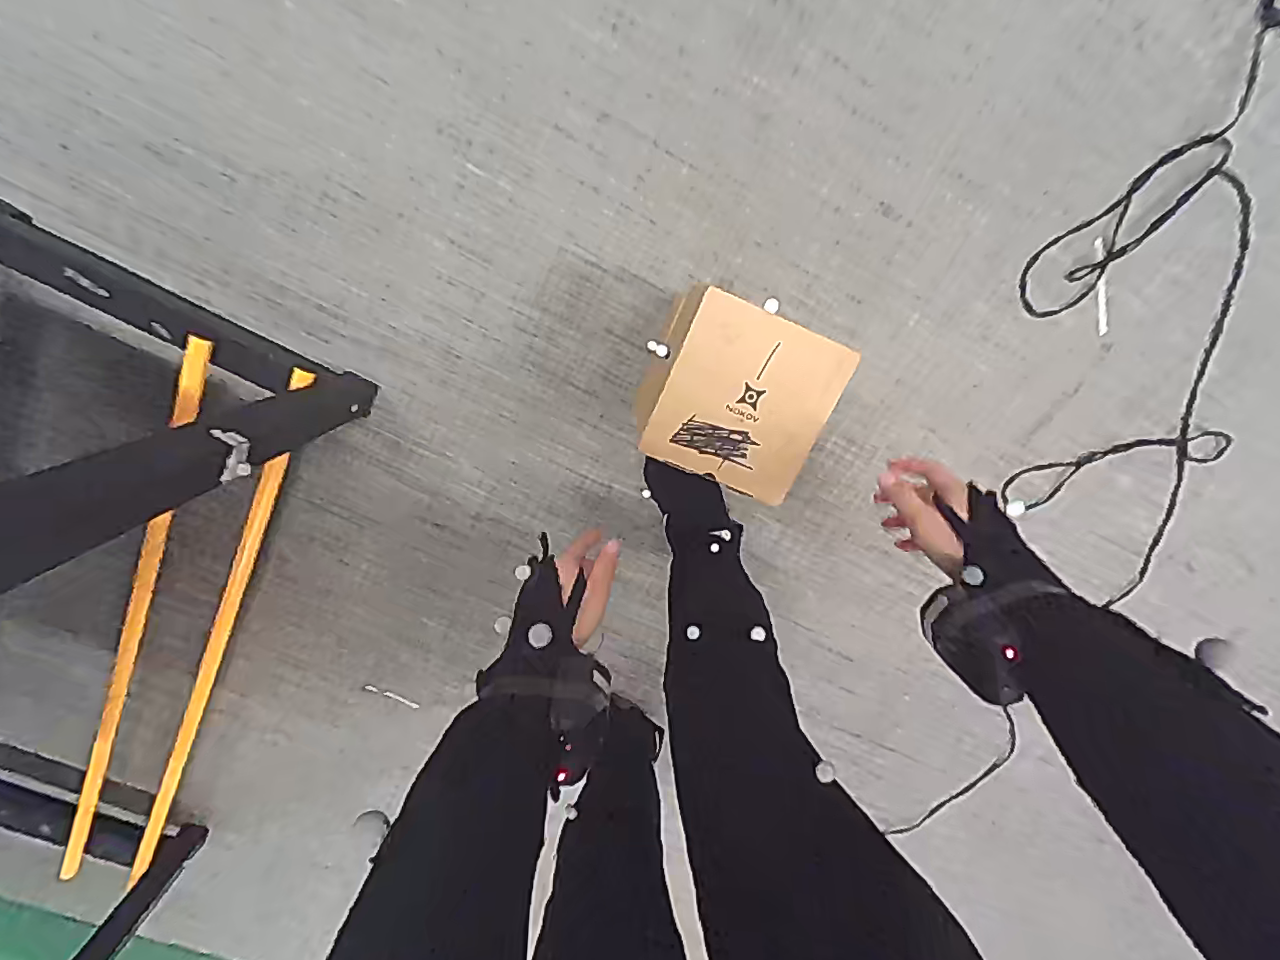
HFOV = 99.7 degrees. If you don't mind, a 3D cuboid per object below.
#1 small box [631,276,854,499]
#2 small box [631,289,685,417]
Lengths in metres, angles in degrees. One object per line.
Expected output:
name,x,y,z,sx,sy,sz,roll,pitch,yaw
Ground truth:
small box,0.100,-0.110,0.608,0.168,0.176,0.179,22,108,-9
small box,0.092,-0.157,0.765,0.168,0.176,0.179,22,109,-7
